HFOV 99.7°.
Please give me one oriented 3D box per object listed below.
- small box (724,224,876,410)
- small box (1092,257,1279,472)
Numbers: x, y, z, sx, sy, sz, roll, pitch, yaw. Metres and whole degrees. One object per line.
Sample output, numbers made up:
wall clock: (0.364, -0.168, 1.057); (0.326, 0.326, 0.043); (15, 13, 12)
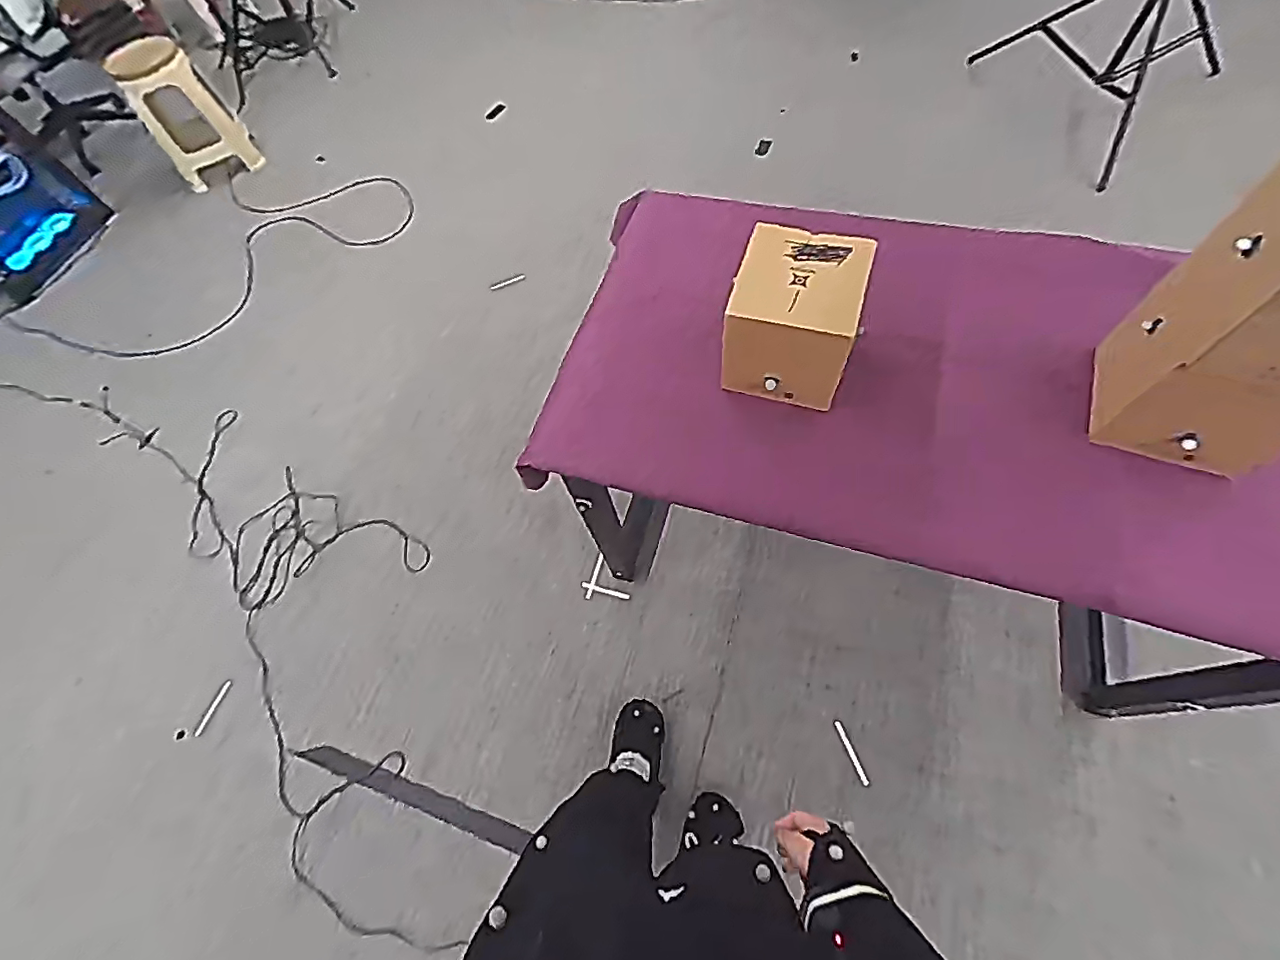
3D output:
small box: (0.221, -0.230, 0.779); (0.168, 0.176, 0.179); (15, 67, 14)
small box: (0.708, -0.138, 0.673); (0.168, 0.176, 0.179); (18, 67, 16)
